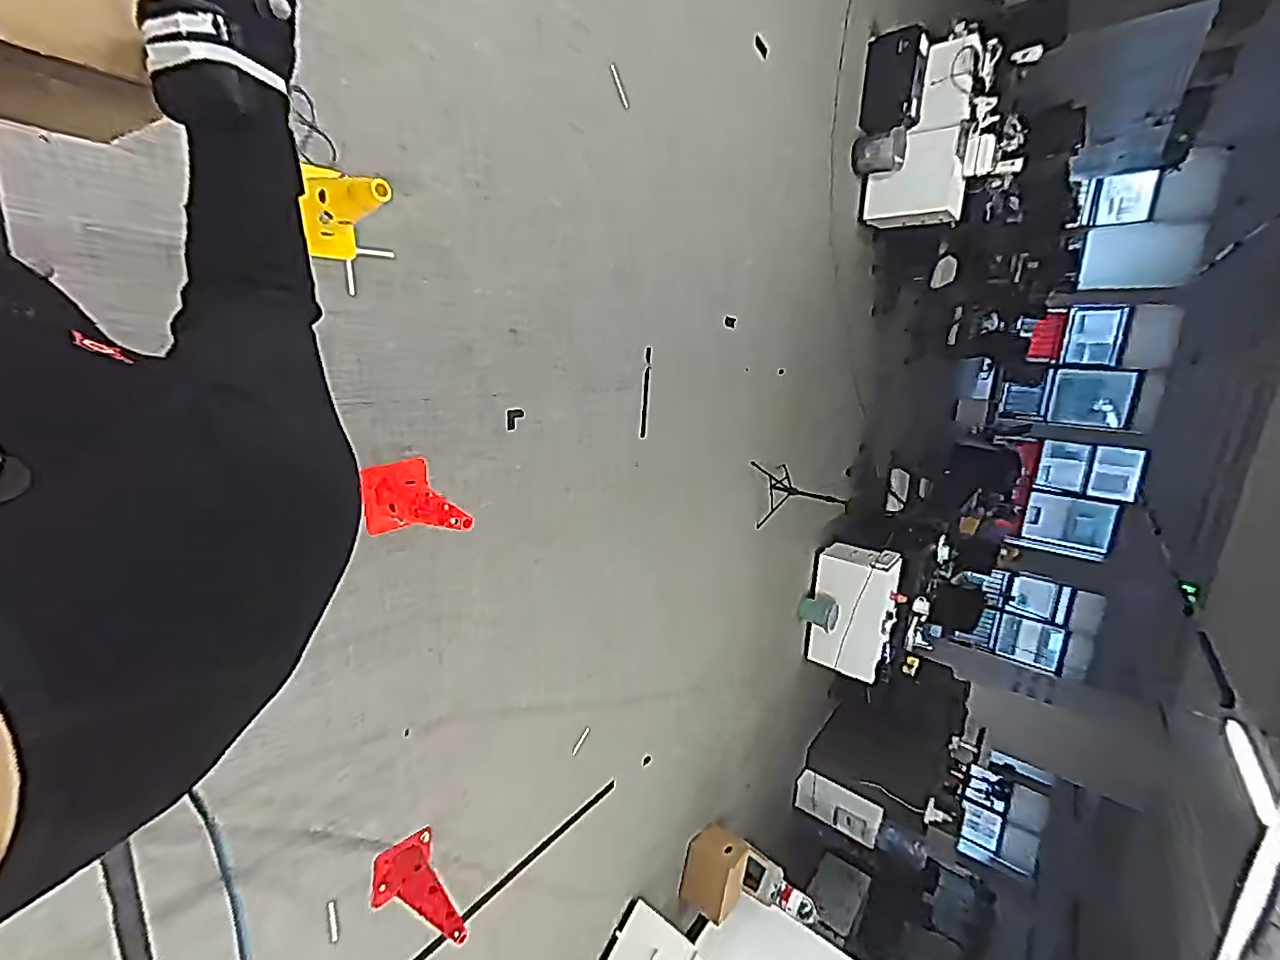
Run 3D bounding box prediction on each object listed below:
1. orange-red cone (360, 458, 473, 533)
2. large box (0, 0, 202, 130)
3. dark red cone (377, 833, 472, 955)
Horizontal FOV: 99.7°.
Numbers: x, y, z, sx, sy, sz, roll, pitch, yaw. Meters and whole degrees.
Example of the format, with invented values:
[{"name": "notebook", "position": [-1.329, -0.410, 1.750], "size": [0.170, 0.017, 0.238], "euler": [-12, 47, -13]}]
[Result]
[{"name": "orange-red cone", "position": [-0.577, 0.071, 1.474], "size": [0.198, 0.360, 0.199], "euler": [-19, 114, -50]}, {"name": "large box", "position": [-0.544, -0.436, 0.283], "size": [0.408, 0.320, 0.320], "euler": [-15, 117, -51]}, {"name": "dark red cone", "position": [-0.660, 1.346, 1.717], "size": [0.201, 0.394, 0.202], "euler": [-5, 105, -50]}]
